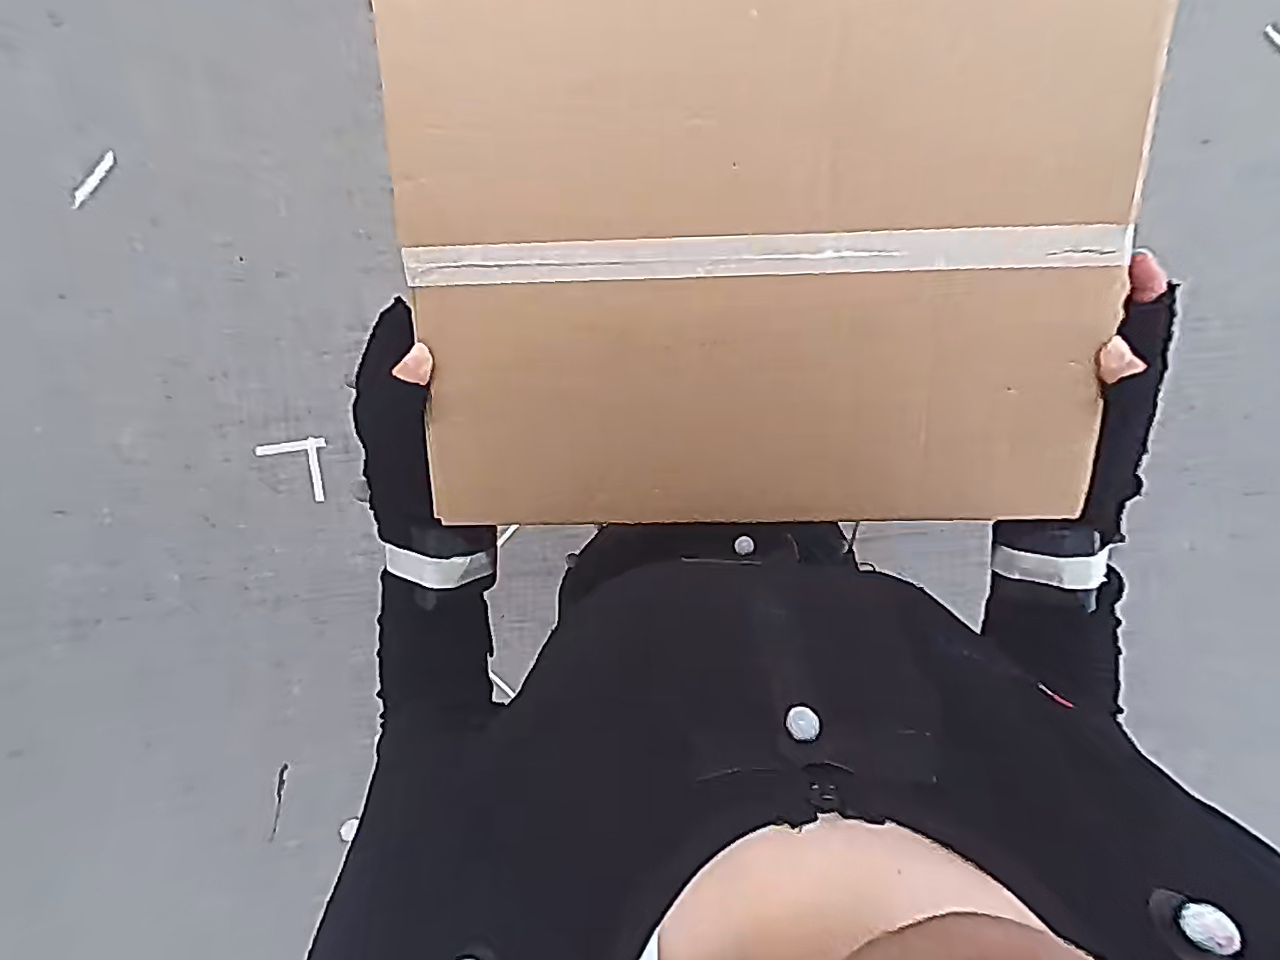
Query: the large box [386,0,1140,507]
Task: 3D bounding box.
[{"bbox_3d":[0.067,-0.172,0.459,0.408,0.320,0.320,-1,105,1],"label":"large box"}]
